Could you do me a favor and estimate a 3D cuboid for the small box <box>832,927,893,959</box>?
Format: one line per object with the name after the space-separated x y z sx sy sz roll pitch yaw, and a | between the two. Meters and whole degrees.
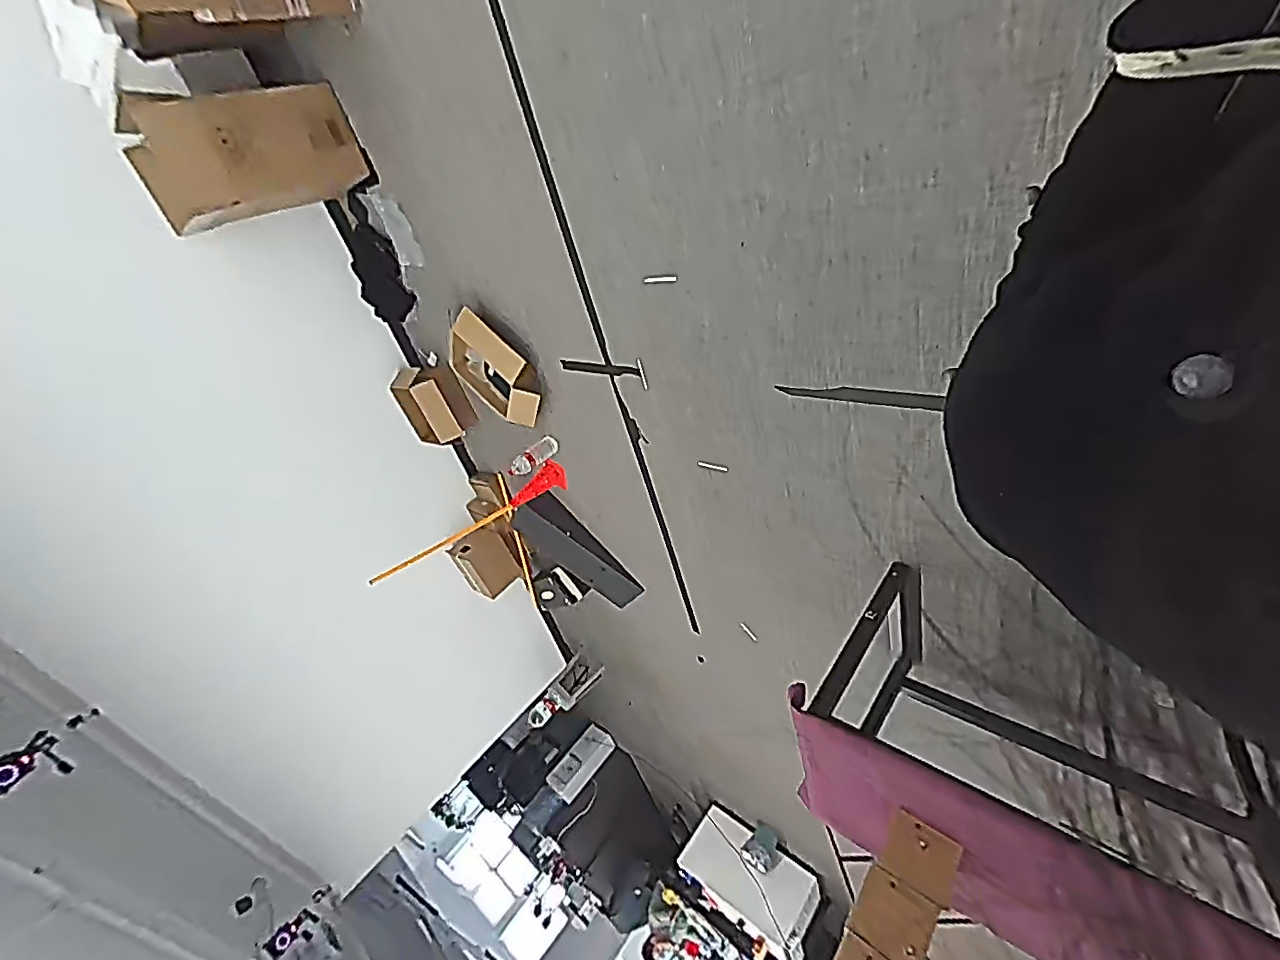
0.524 1.193 1.258 0.168 0.176 0.179 23 141 37 | small box

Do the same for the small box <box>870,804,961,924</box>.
0.731 1.014 1.437 0.168 0.176 0.179 20 138 37 | small box
